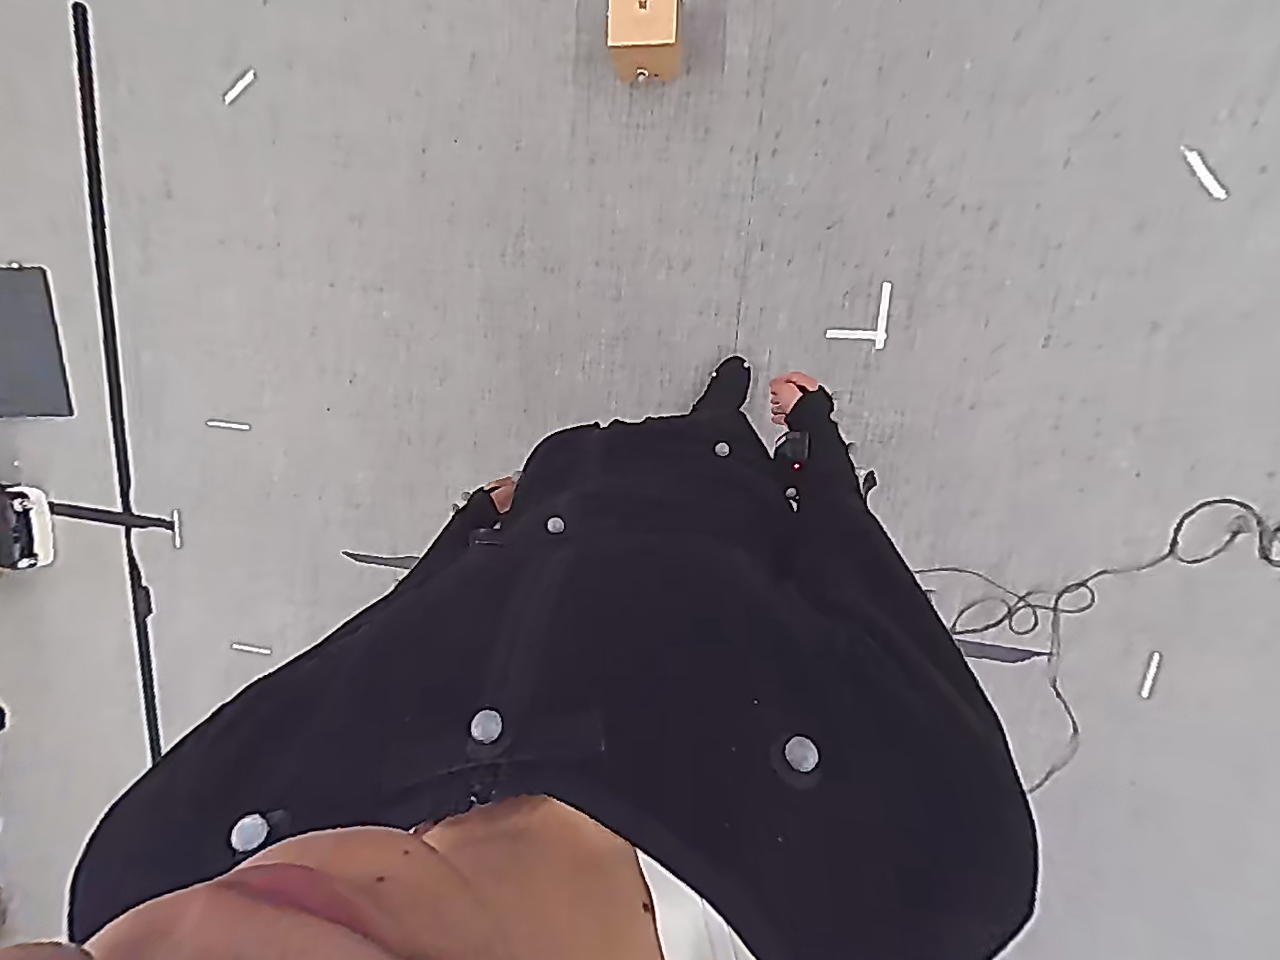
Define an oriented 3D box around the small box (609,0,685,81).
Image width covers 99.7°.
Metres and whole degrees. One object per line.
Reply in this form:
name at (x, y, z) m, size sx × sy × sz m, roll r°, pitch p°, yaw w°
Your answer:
small box at (0.022, -1.136, 1.347) m, size 0.168 × 0.176 × 0.179 m, roll 4°, pitch 101°, yaw 8°
